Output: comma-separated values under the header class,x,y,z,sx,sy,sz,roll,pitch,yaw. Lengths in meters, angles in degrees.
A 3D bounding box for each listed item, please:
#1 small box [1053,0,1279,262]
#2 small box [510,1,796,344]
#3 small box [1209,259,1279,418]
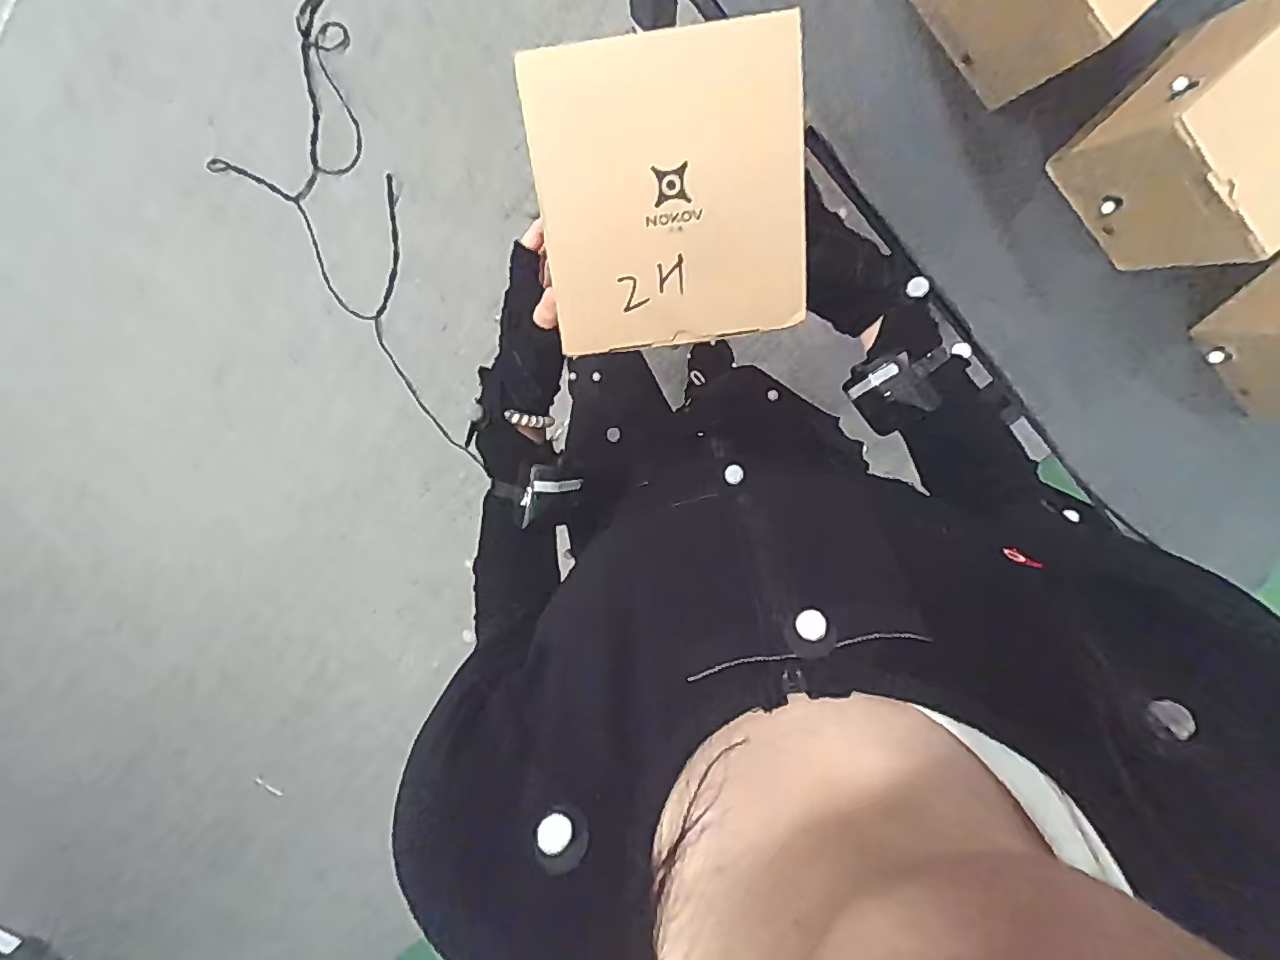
class,x,y,z,sx,sy,sz,roll,pitch,yaw
small box,0.576,-0.342,0.534,0.168,0.176,0.179,42,105,-12
small box,0.013,-0.206,0.410,0.168,0.176,0.179,-7,110,3
small box,0.792,-0.165,0.584,0.168,0.176,0.179,42,104,-11
